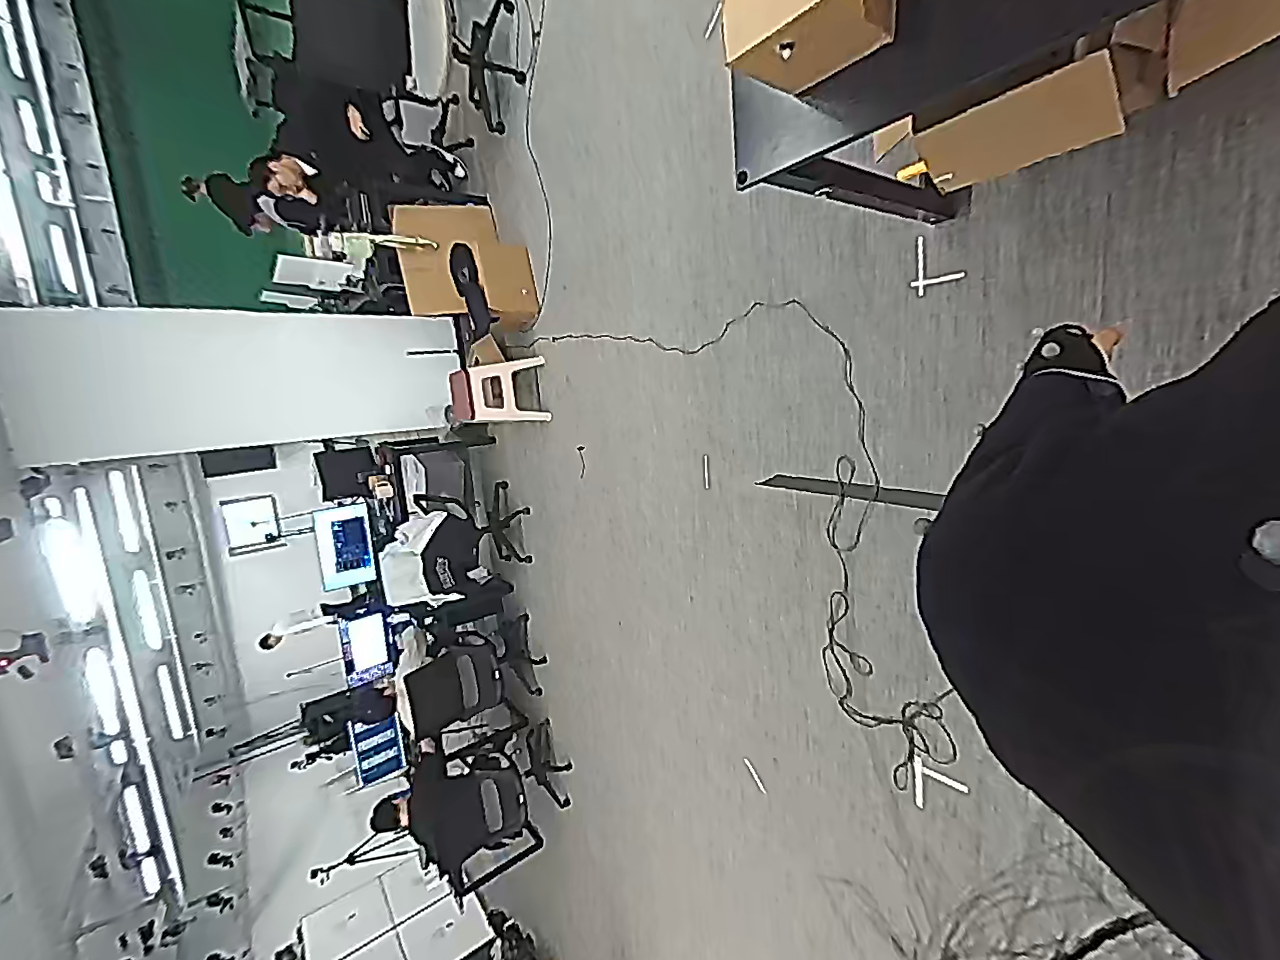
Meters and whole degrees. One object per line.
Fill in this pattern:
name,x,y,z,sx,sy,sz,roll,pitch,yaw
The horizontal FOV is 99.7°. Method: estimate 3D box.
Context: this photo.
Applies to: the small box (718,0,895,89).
small box,0.226,-0.677,0.741,0.179,0.176,0.168,10,108,51
